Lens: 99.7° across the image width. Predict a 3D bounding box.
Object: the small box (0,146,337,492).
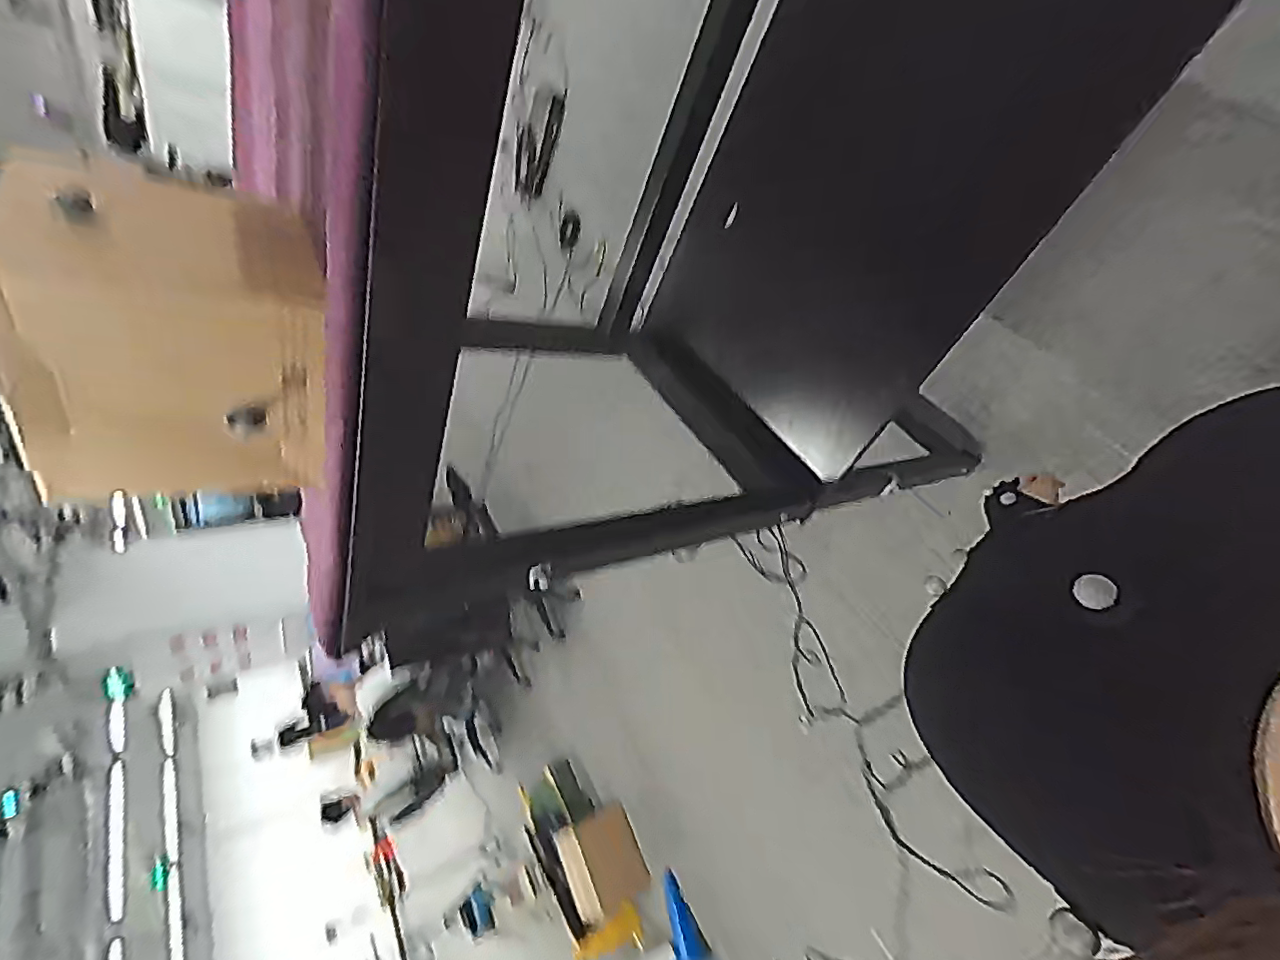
[{"bbox_3d":[-0.336,-0.110,0.399,0.179,0.176,0.168,52,133,35],"label":"small box"}]
